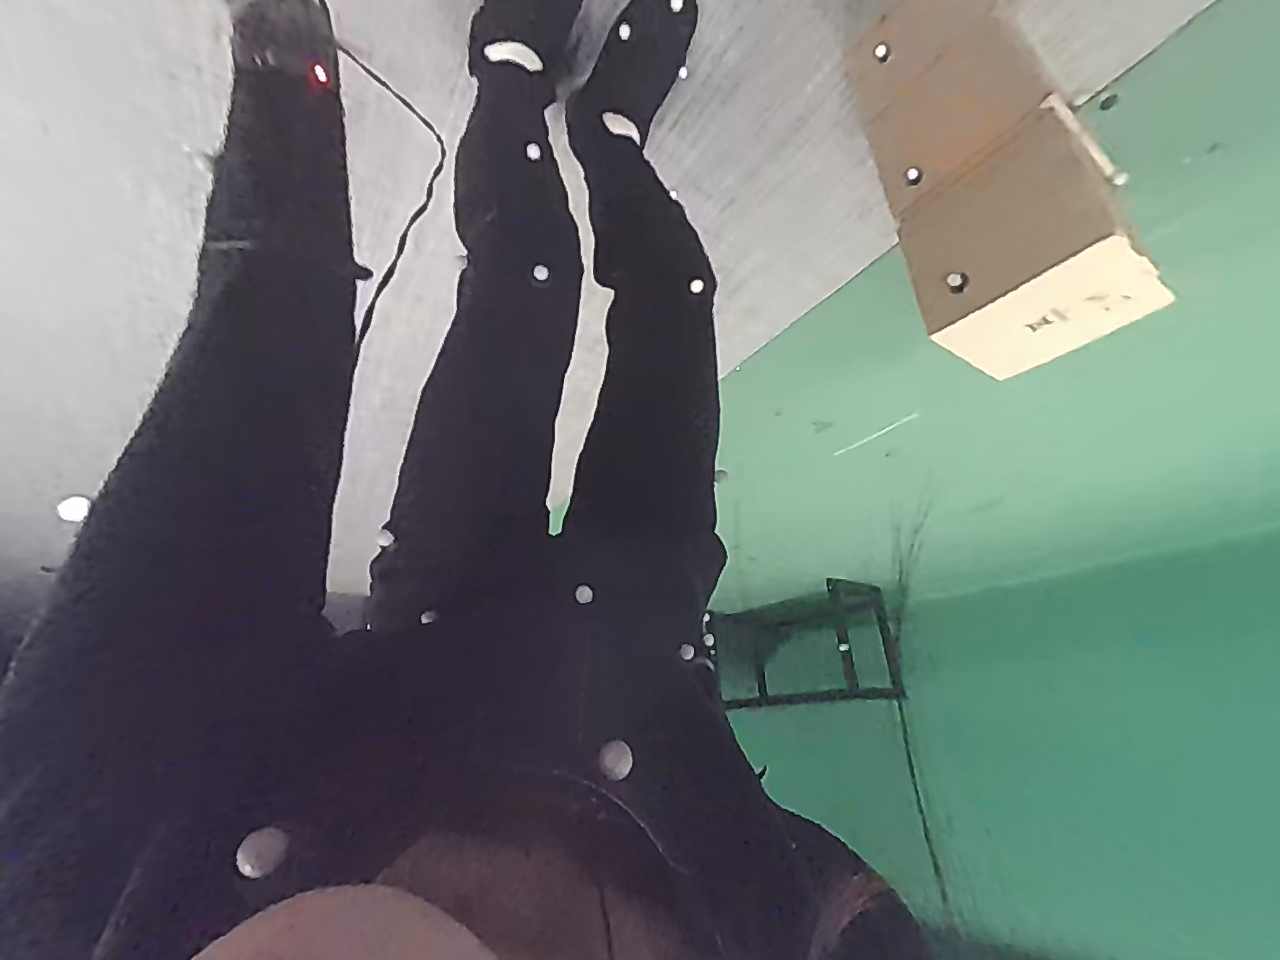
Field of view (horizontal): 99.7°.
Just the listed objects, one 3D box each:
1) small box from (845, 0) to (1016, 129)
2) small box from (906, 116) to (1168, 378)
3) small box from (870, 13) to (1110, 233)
[{"bbox_3d":[0.405,-0.553,0.730,0.179,0.176,0.168,15,150,-33],"label":"small box"},{"bbox_3d":[0.429,-0.250,0.611,0.168,0.176,0.179,14,151,-32],"label":"small box"},{"bbox_3d":[0.415,-0.405,0.665,0.168,0.176,0.179,13,152,-31],"label":"small box"}]
